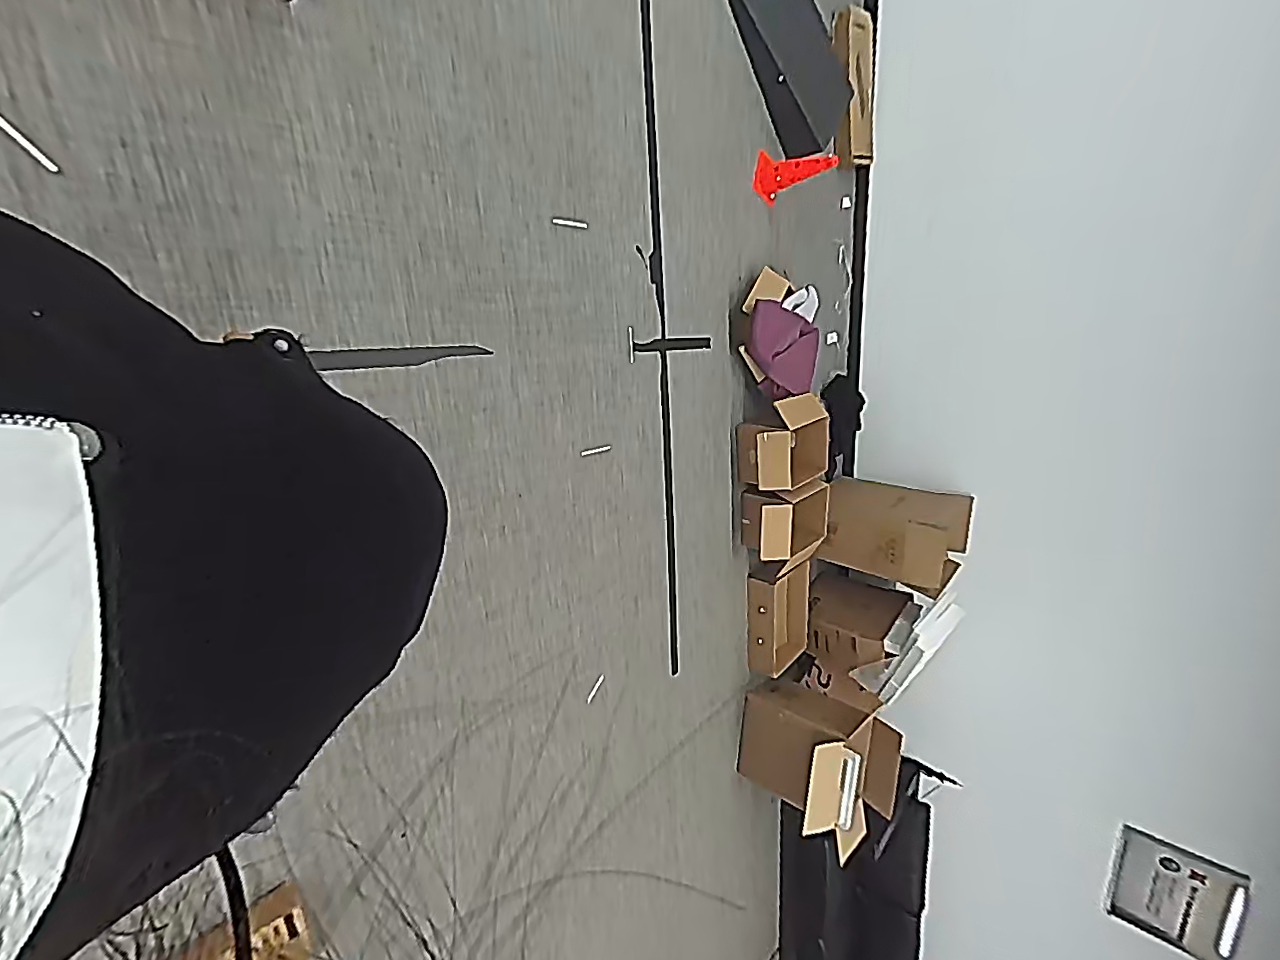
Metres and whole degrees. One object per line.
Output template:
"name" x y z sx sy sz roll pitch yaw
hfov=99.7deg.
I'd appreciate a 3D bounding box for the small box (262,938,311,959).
"small box" -0.884 1.296 1.325 0.168 0.176 0.179 -19 112 -44
